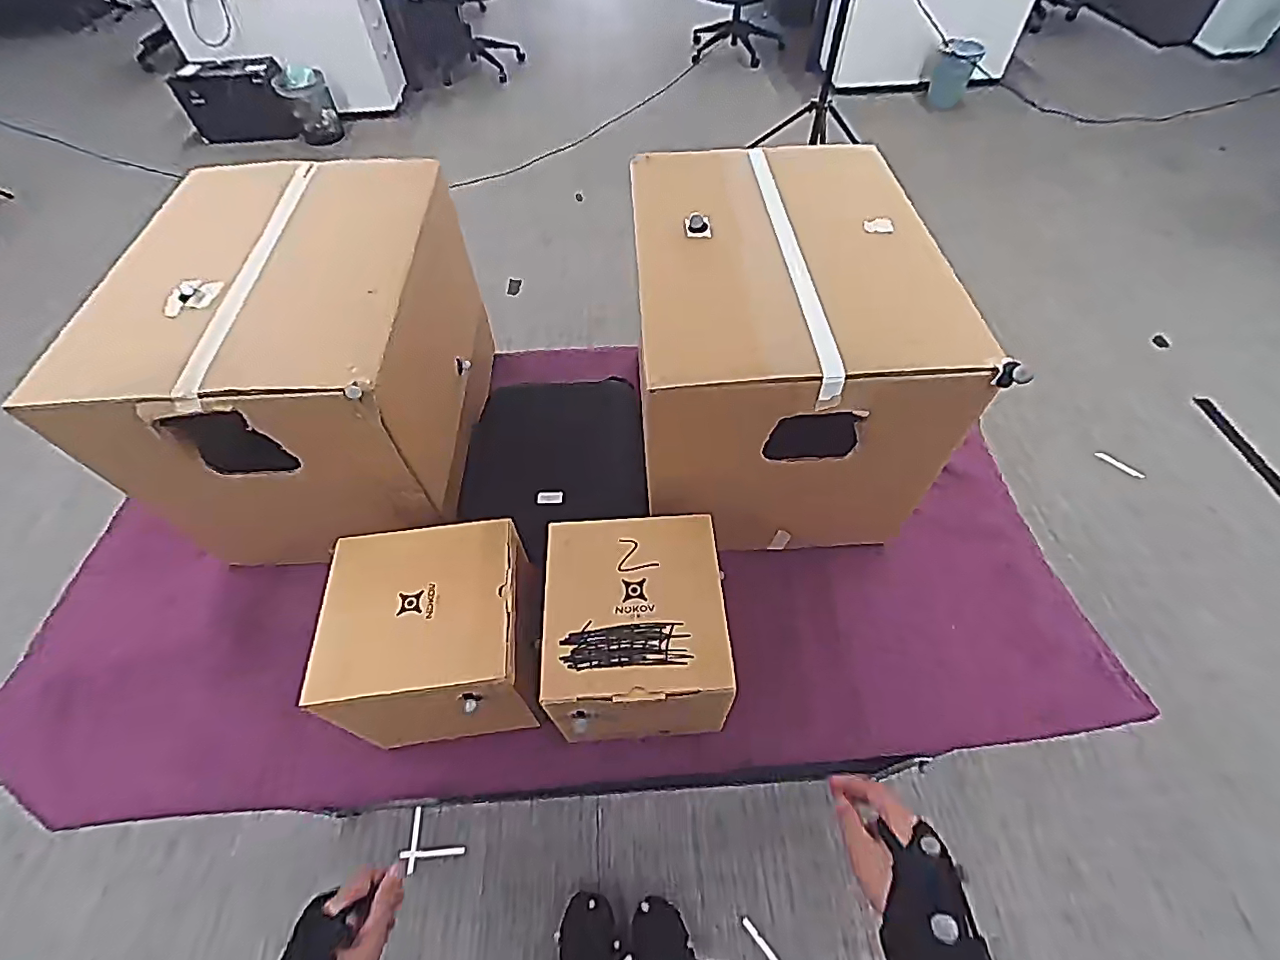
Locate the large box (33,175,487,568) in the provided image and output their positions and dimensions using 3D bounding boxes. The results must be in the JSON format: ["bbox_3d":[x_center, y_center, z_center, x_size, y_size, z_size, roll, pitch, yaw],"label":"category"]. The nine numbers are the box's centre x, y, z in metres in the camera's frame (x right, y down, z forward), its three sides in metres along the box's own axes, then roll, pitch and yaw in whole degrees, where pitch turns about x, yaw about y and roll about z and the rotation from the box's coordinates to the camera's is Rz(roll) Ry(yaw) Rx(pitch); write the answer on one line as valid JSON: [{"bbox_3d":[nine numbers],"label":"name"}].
[{"bbox_3d":[-0.397,-0.137,0.707,0.320,0.320,0.408,-4,57,-1],"label":"large box"}]
